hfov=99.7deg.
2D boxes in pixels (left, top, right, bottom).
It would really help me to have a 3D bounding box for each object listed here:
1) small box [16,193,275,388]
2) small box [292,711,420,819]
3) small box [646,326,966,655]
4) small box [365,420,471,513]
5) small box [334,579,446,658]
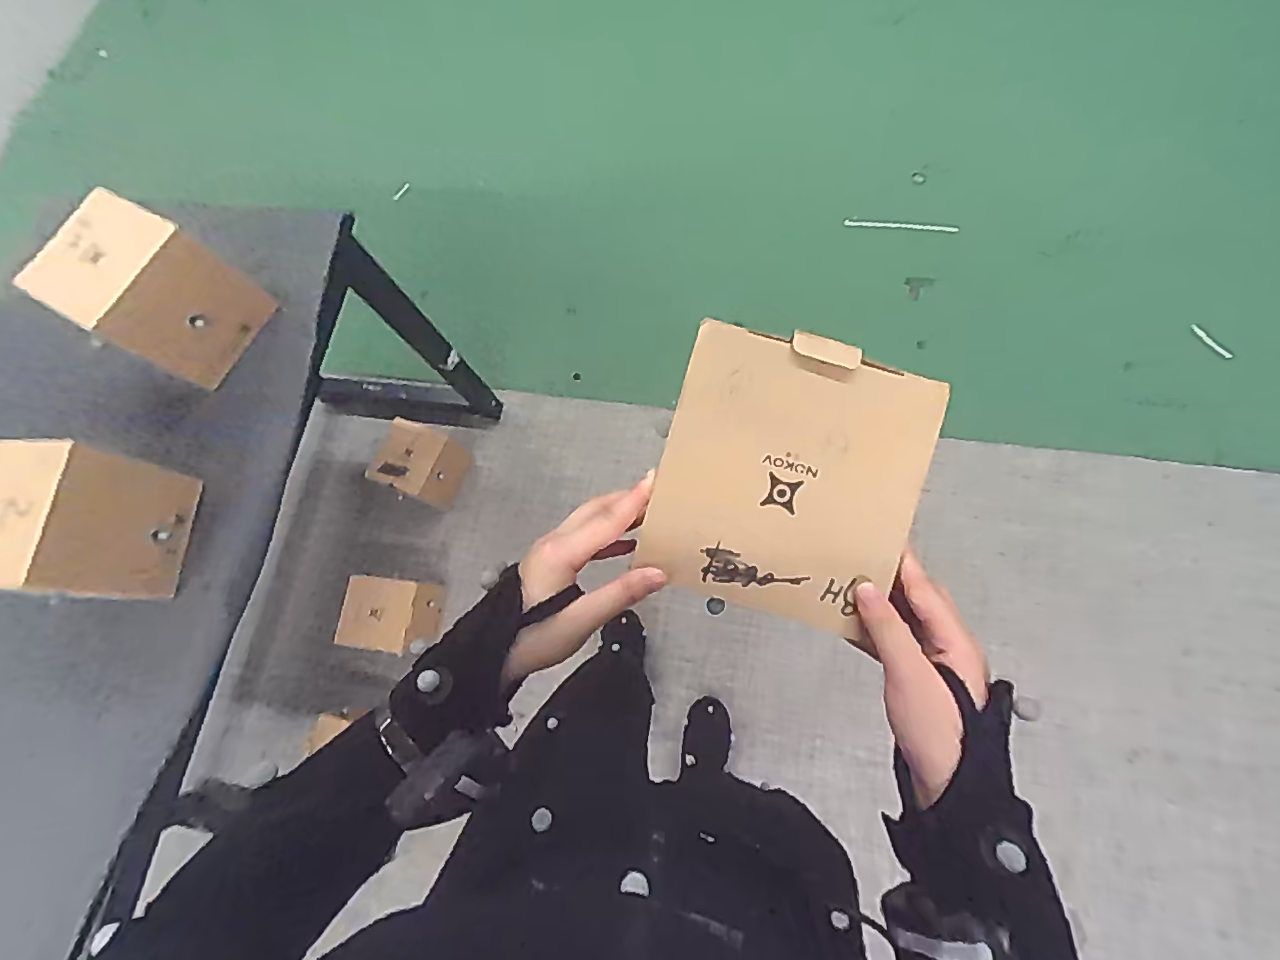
[{"bbox_3d":[-0.669,-0.251,0.754,0.179,0.176,0.168,27,79,16],"label":"small box"},{"bbox_3d":[-0.646,0.648,1.255,0.179,0.176,0.168,11,76,10],"label":"small box"},{"bbox_3d":[0.109,0.004,0.426,0.168,0.176,0.179,17,93,4],"label":"small box"},{"bbox_3d":[-0.582,-0.029,1.445,0.168,0.176,0.179,20,75,12],"label":"small box"},{"bbox_3d":[-0.609,0.343,1.339,0.179,0.176,0.168,4,74,9],"label":"small box"}]
